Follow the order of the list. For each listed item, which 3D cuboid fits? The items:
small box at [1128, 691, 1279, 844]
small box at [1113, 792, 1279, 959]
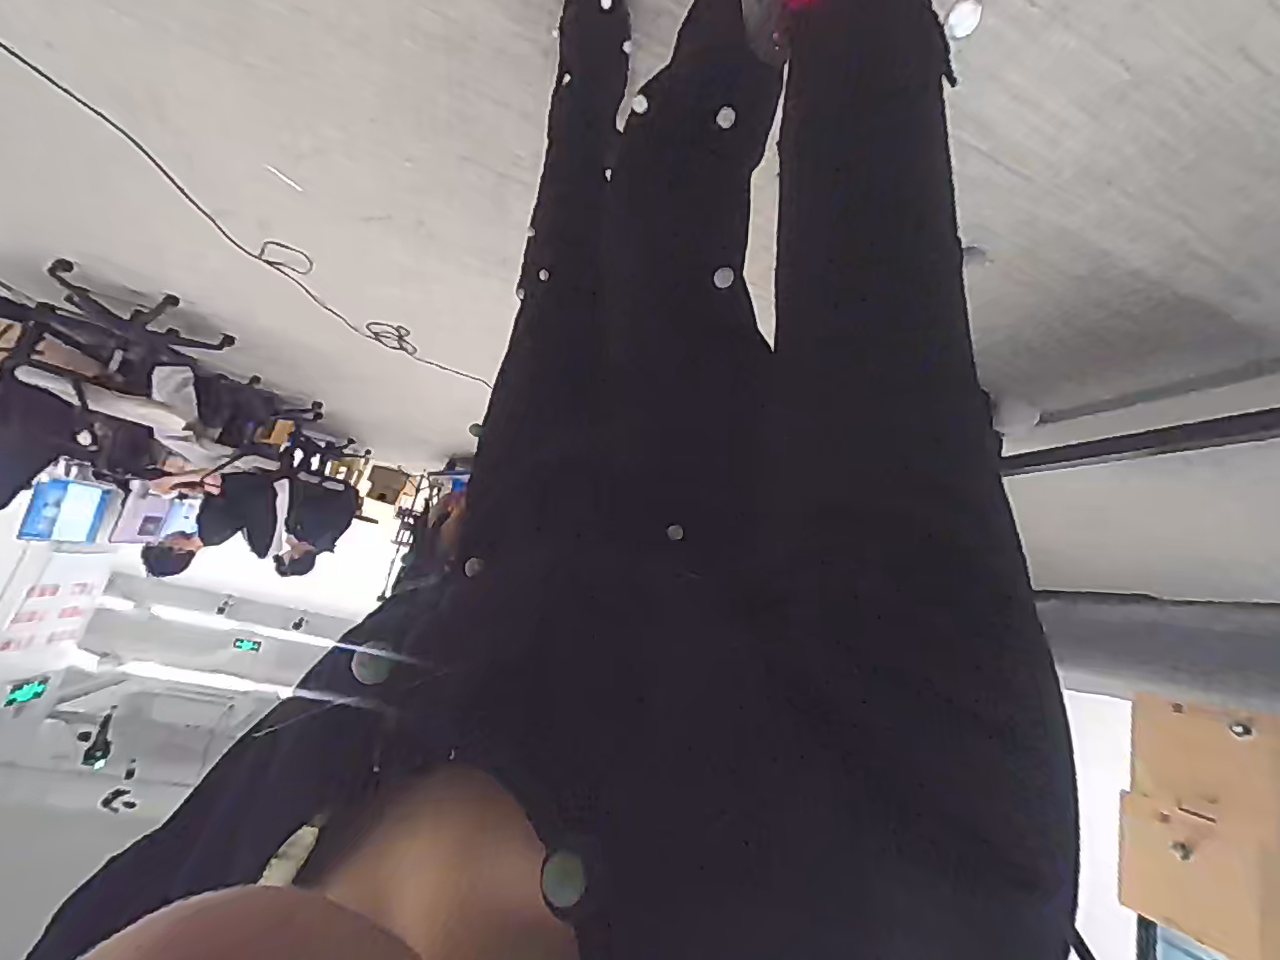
[{"bbox_3d":[0.897,0.434,0.831,0.179,0.176,0.168,17,167,-19],"label":"small box"},{"bbox_3d":[0.862,0.595,0.811,0.179,0.176,0.168,17,166,-16],"label":"small box"}]
